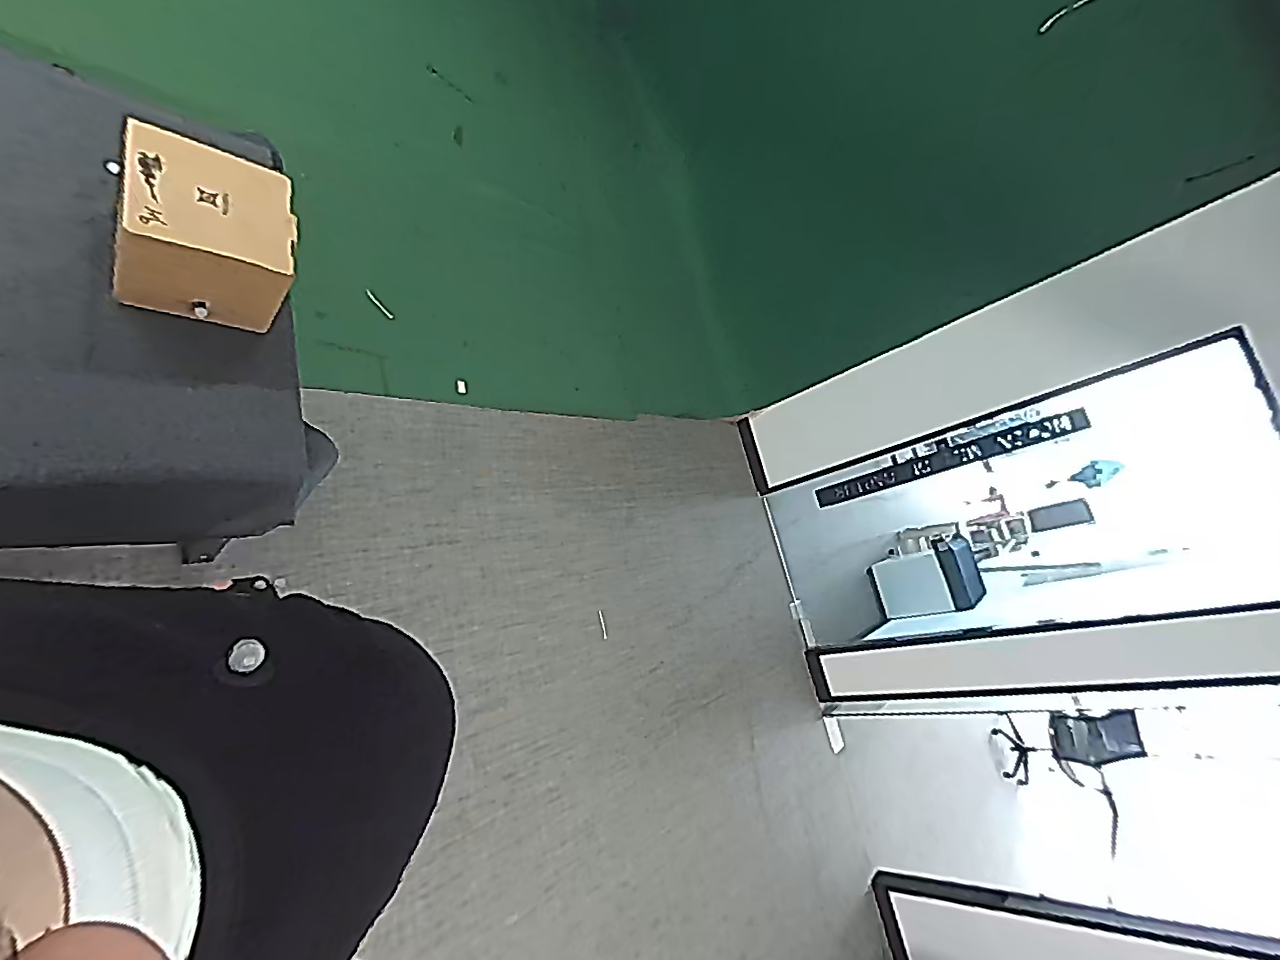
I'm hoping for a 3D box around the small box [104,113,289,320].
[{"bbox_3d":[-0.616,-0.346,0.755,0.179,0.176,0.168,4,71,-47],"label":"small box"}]
